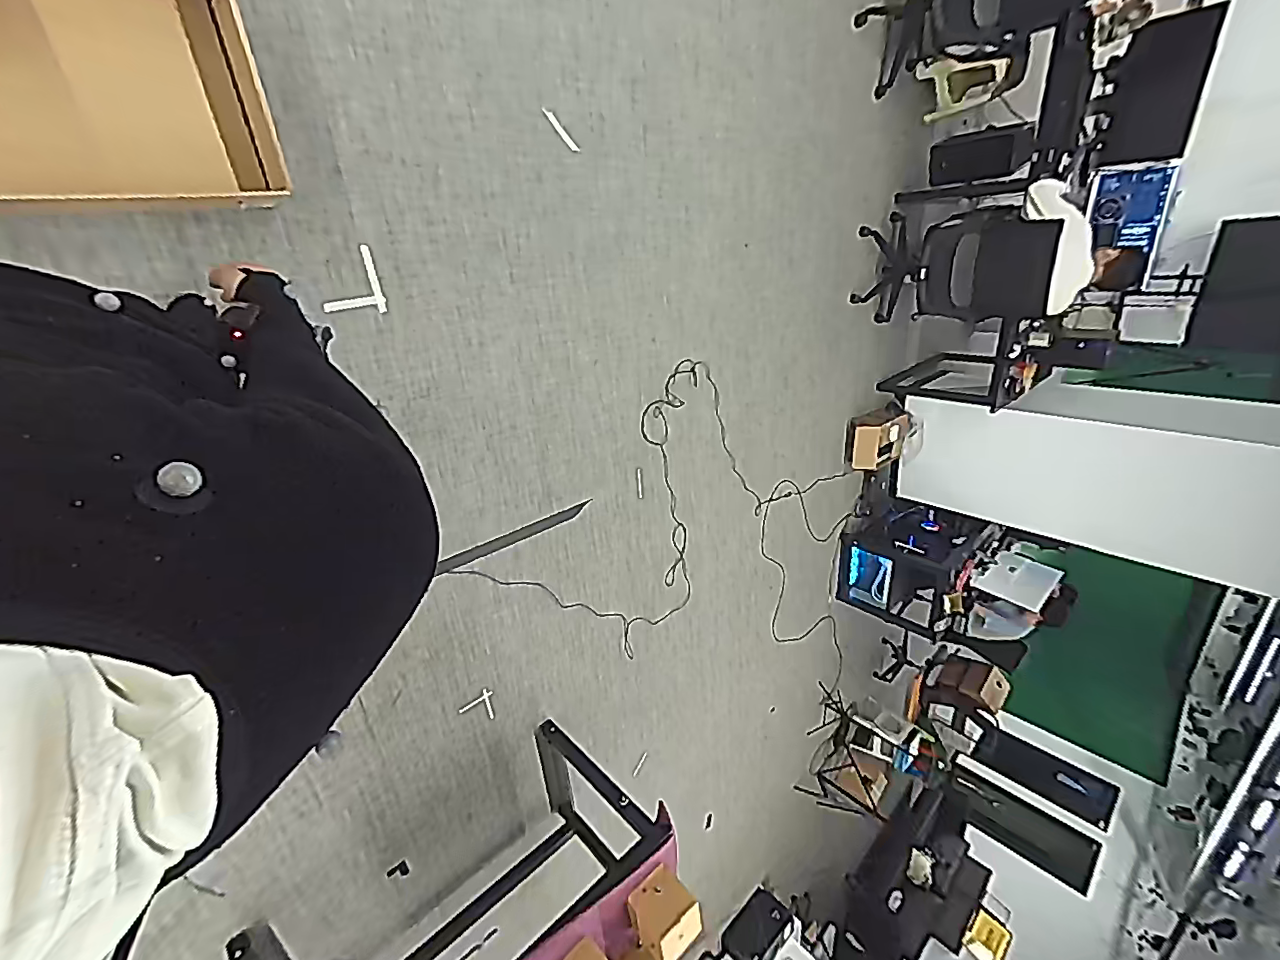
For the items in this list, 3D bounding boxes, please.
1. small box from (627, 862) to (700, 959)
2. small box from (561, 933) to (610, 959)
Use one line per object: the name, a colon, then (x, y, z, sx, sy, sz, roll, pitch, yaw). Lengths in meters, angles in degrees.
small box: (0.077, 1.419, 1.779, 0.168, 0.176, 0.179, -26, 121, -33)
small box: (-0.162, 1.500, 1.577, 0.179, 0.176, 0.168, -24, 120, -37)
